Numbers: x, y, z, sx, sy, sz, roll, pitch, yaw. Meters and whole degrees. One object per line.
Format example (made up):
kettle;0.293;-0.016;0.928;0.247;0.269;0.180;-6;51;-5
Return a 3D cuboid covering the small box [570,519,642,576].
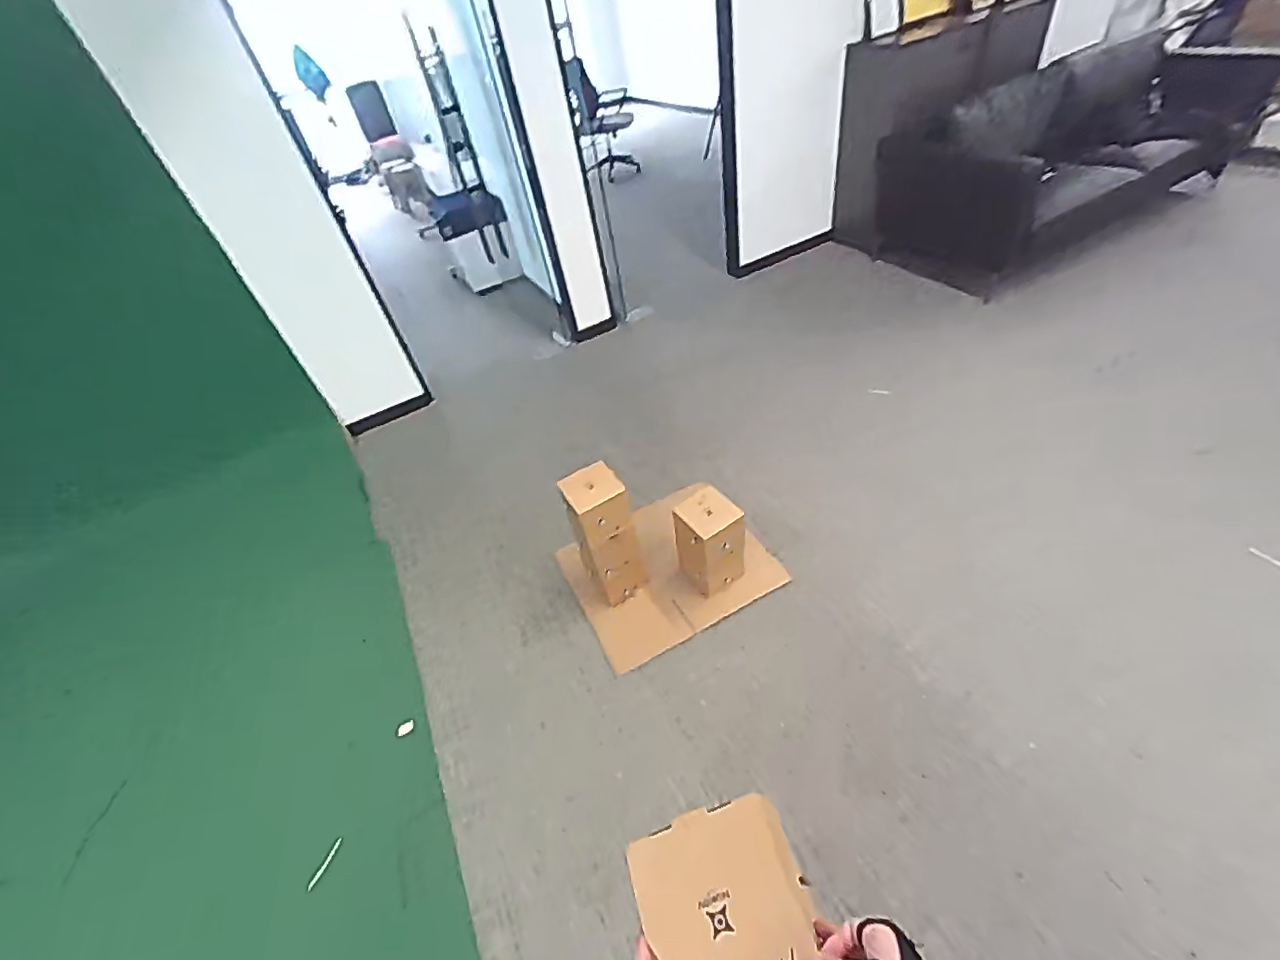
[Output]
small box;-0.111;0.201;1.827;0.168;0.176;0.179;-29;44;-16

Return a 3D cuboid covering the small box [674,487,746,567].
small box;0.234;0.163;1.779;0.168;0.176;0.179;-29;46;-19

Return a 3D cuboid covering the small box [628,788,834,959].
small box;0.105;0.485;0.616;0.168;0.176;0.179;-24;49;4

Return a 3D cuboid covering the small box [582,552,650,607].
small box;-0.085;0.318;1.939;0.168;0.176;0.179;-31;46;-18

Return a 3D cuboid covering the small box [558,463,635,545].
small box;-0.134;0.083;1.719;0.168;0.176;0.179;-28;45;-16
